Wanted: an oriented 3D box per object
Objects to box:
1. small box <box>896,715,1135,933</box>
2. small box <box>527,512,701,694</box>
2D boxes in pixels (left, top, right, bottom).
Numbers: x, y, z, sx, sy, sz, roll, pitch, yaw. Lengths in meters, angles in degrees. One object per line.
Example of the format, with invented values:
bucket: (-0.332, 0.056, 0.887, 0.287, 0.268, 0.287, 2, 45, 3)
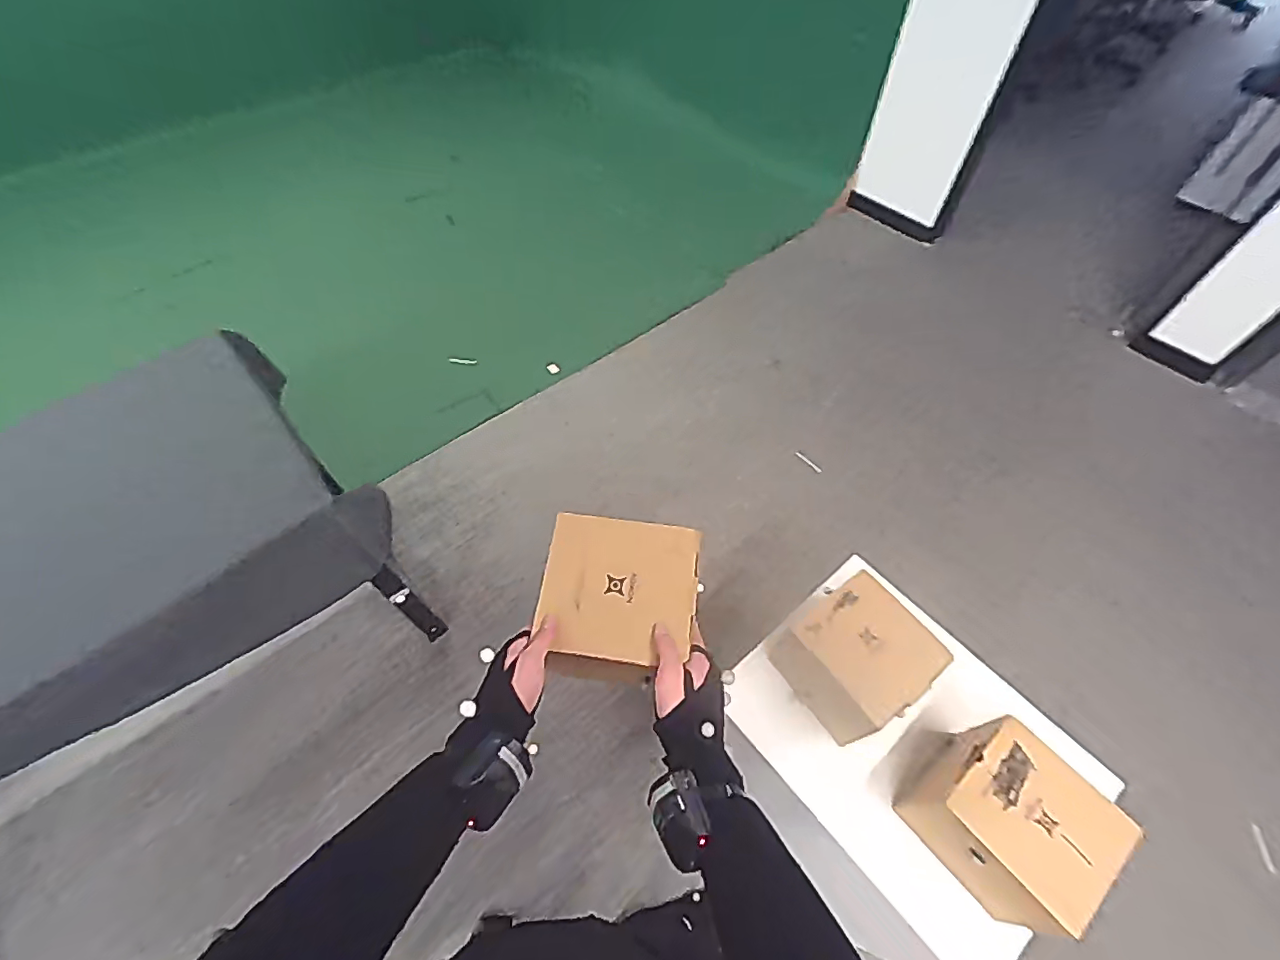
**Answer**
small box: (0.492, 0.461, 0.736, 0.168, 0.176, 0.179, -34, 64, -23)
small box: (-0.026, 0.157, 0.663, 0.179, 0.176, 0.168, 6, 58, 1)
